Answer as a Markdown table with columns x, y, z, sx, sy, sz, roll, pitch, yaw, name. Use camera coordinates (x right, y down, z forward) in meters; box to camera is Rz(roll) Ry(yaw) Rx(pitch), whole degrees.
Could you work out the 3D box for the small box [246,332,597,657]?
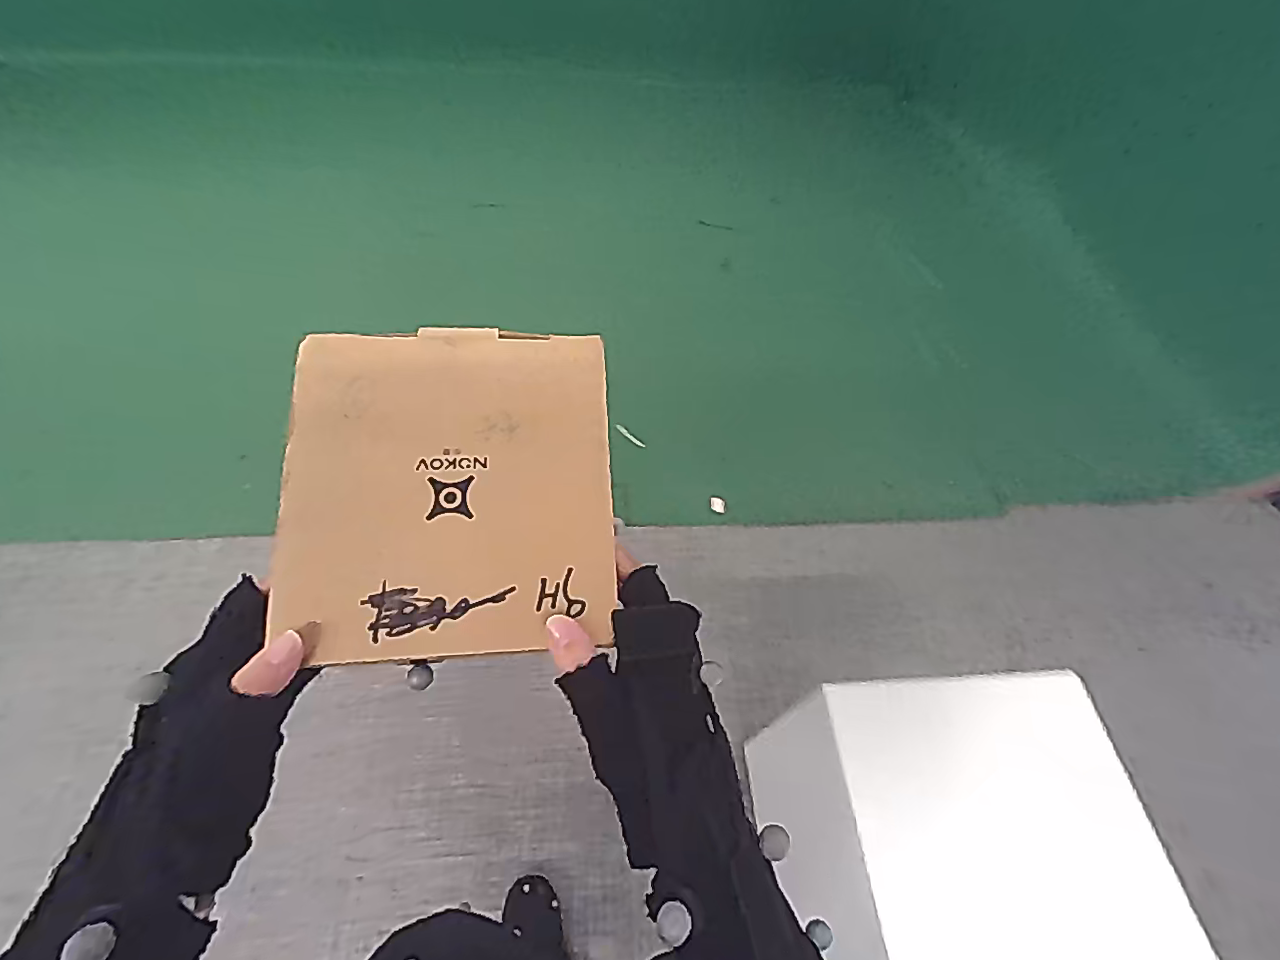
| x | y | z | sx | sy | sz | roll | pitch | yaw | name |
| --- | --- | --- | --- | --- | --- | --- | --- | --- | --- |
| -0.118 | 0.022 | 0.363 | 0.168 | 0.176 | 0.179 | -3 | 72 | -7 | small box |
